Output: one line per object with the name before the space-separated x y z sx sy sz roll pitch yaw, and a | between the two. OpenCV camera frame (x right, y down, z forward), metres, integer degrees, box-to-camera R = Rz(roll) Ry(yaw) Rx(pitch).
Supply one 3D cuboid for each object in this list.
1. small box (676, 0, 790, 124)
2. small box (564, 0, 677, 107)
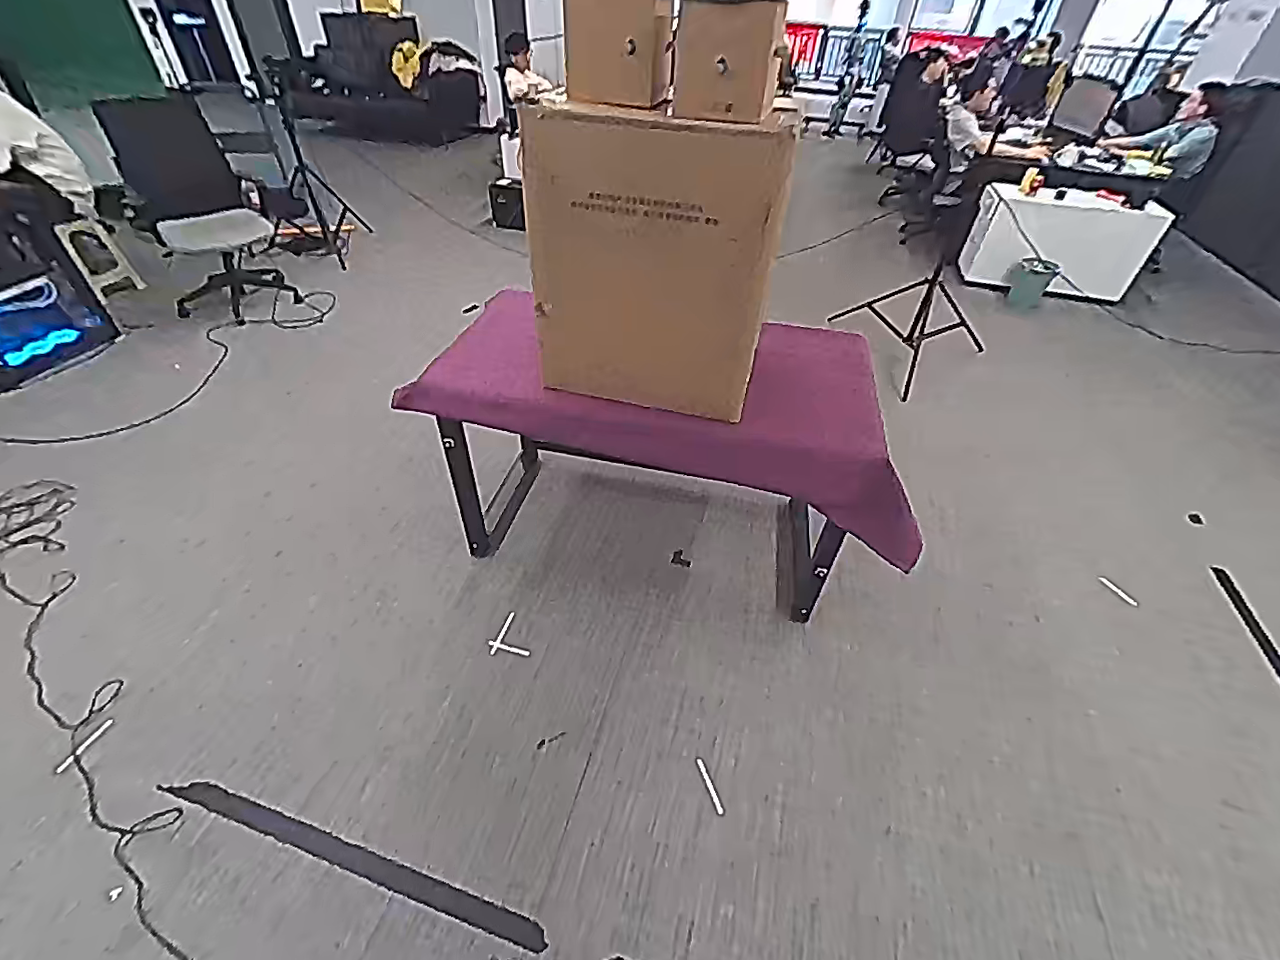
small box | 0.164 -0.758 0.976 0.168 0.176 0.179 13 43 11
small box | -0.035 -0.838 1.049 0.179 0.176 0.168 12 42 9
